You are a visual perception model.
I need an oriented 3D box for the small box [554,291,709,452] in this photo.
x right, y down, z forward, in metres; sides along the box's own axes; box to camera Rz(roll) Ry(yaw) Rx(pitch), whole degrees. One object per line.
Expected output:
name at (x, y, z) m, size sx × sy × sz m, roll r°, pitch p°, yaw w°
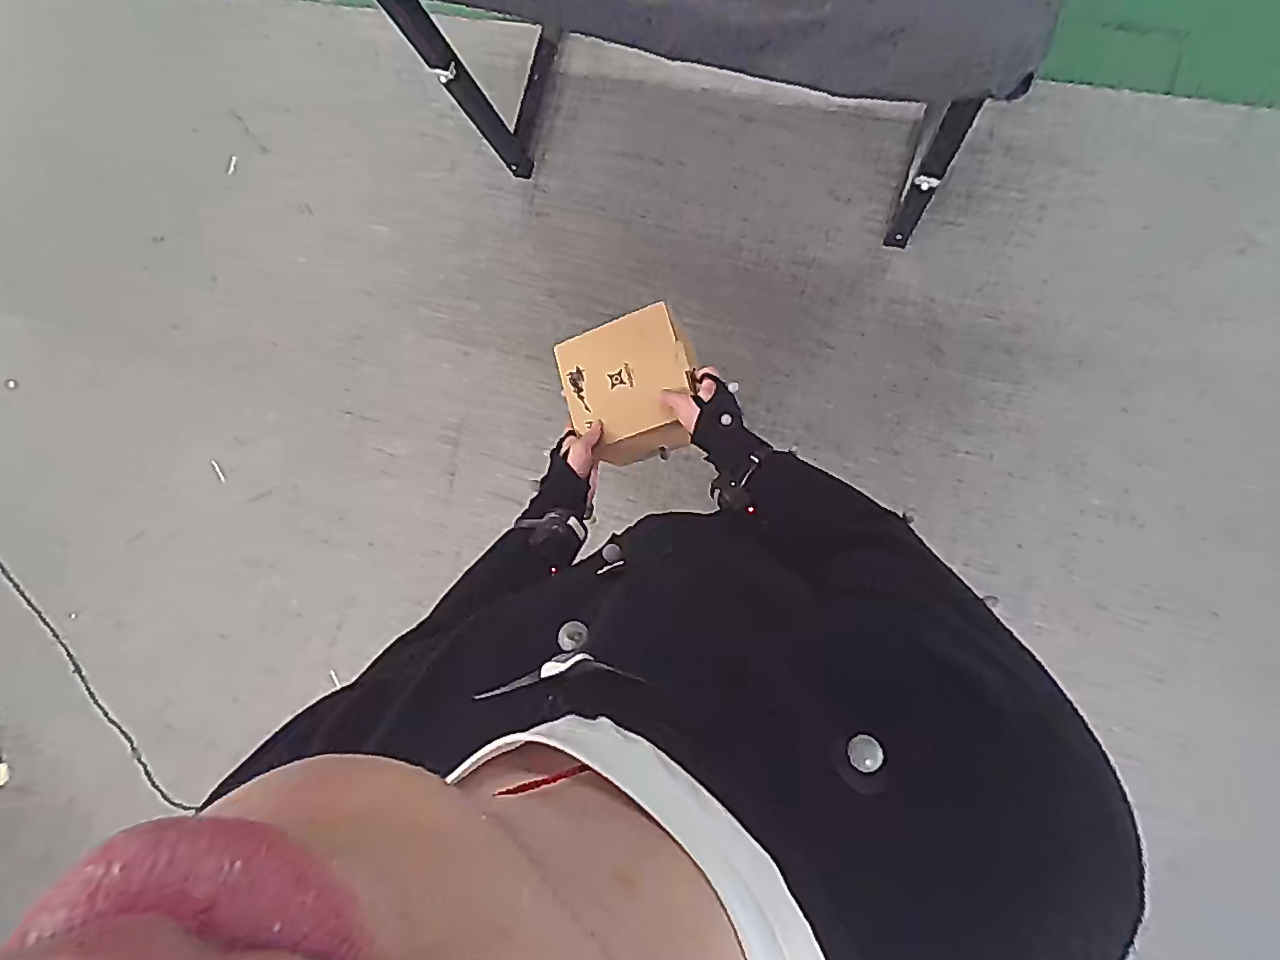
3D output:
small box at (-0.002, -0.149, 0.811) m, size 0.179 × 0.176 × 0.168 m, roll -17°, pitch 81°, yaw 15°
